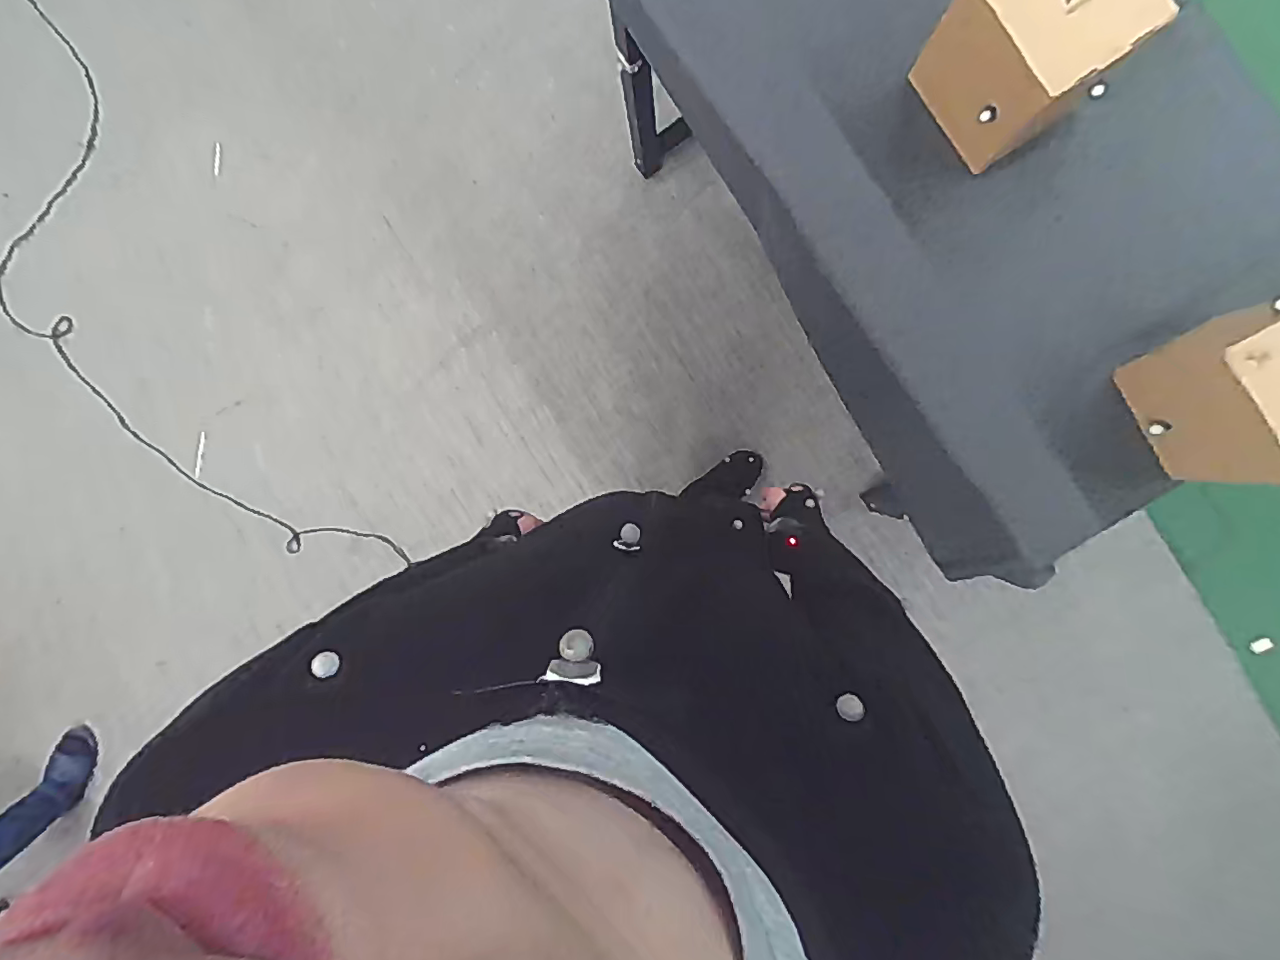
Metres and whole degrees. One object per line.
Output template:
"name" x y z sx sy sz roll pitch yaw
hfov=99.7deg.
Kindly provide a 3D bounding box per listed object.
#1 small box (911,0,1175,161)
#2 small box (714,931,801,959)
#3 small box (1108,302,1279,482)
"small box" 0.492 -0.550 0.690 0.168 0.176 0.179 -34 90 3
"small box" 0.224 0.932 0.921 0.179 0.176 0.168 -32 91 7
"small box" 0.775 -0.116 0.695 0.168 0.176 0.179 -29 91 5
